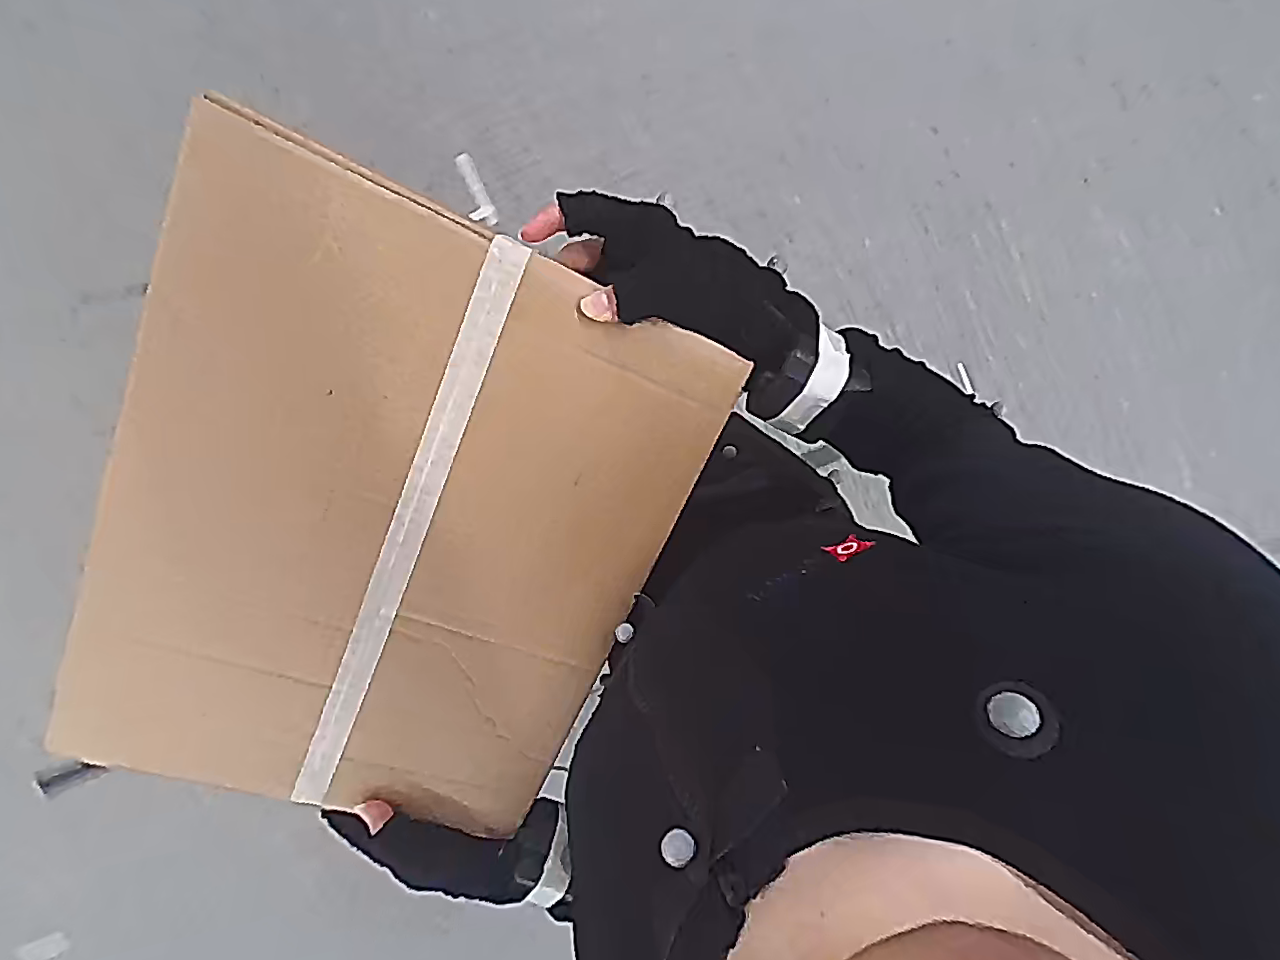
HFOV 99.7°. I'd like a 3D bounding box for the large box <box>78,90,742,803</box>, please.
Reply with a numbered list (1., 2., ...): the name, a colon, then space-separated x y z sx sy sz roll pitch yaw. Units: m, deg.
1. large box: -0.173 -0.015 0.487 0.320 0.320 0.408 24 104 -15
